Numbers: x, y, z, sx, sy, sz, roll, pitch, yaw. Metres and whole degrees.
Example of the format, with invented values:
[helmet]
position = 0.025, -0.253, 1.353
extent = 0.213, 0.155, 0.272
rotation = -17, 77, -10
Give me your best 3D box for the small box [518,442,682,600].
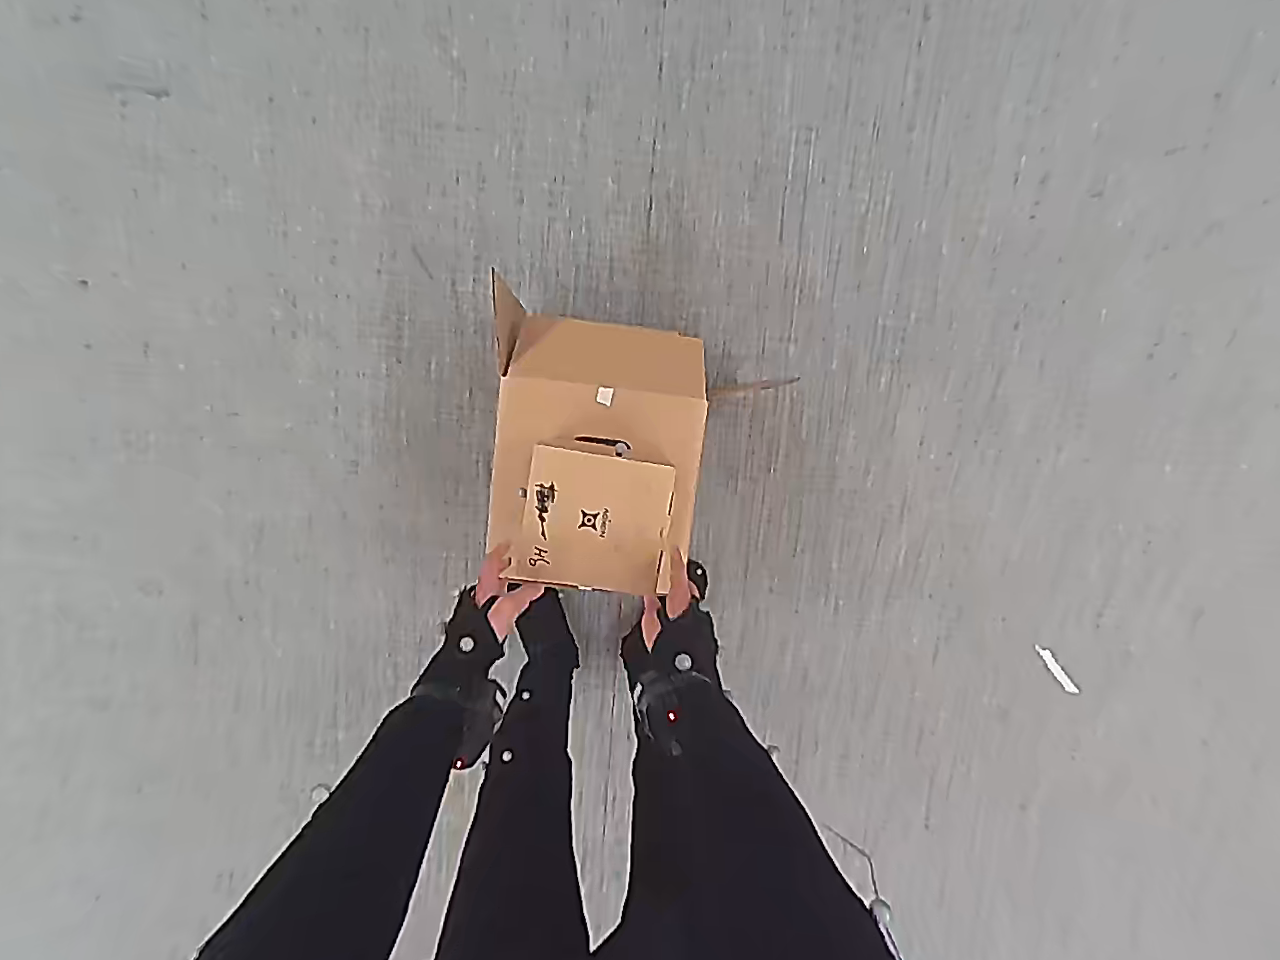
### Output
[small box]
position = -0.053, 0.044, 0.728
extent = 0.179, 0.176, 0.168
rotation = 10, 97, -4
